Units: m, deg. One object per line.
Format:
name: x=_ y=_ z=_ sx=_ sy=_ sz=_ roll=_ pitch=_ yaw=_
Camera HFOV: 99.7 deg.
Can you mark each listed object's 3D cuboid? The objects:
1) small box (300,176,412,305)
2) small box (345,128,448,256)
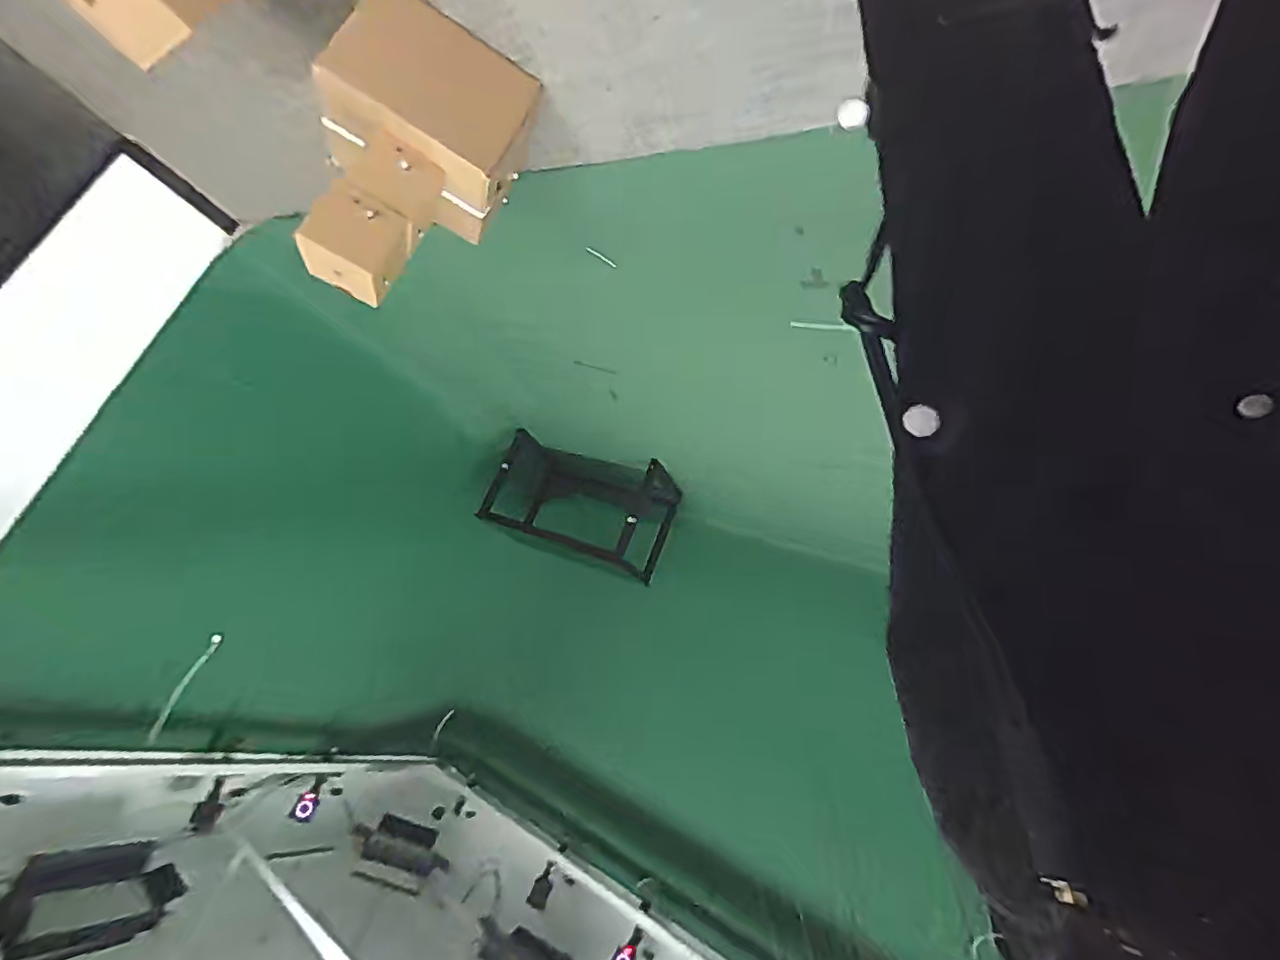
small box: x=-0.646 y=-0.549 z=1.253 sx=0.168 sy=0.176 sz=0.179 roll=27 pitch=163 yaw=-17
small box: x=-0.584 y=-0.690 z=1.306 sx=0.168 sy=0.176 sz=0.179 roll=29 pitch=162 yaw=-20
